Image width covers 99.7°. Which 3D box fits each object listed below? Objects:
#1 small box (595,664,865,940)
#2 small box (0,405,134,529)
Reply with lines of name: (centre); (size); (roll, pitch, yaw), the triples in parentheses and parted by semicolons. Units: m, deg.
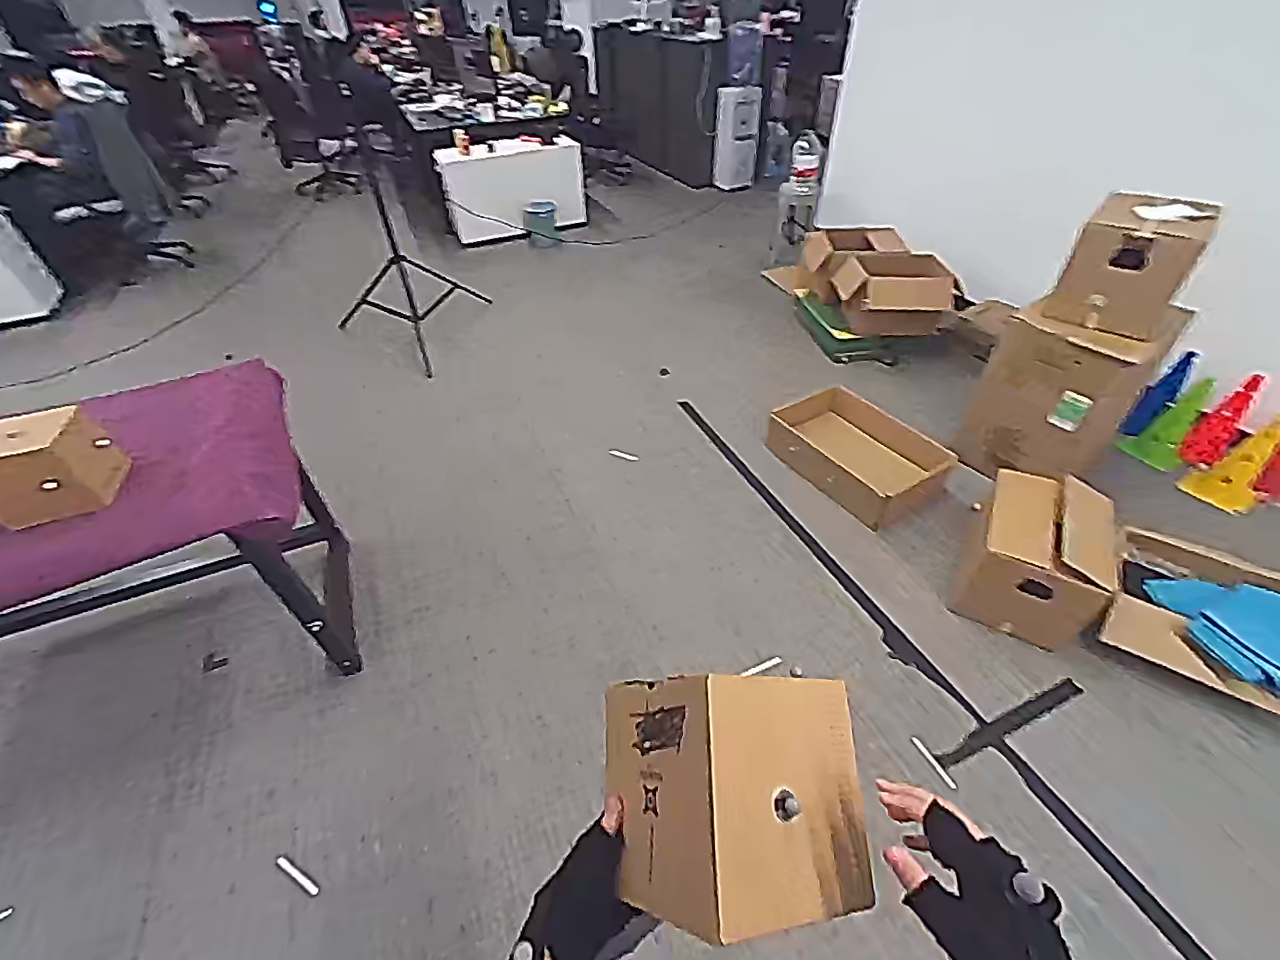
small box: (0.074, 0.270, 0.491); (0.176, 0.168, 0.179); (13, 62, -29)
small box: (-1.224, -0.027, 1.129); (0.179, 0.176, 0.168); (-17, 43, -13)
